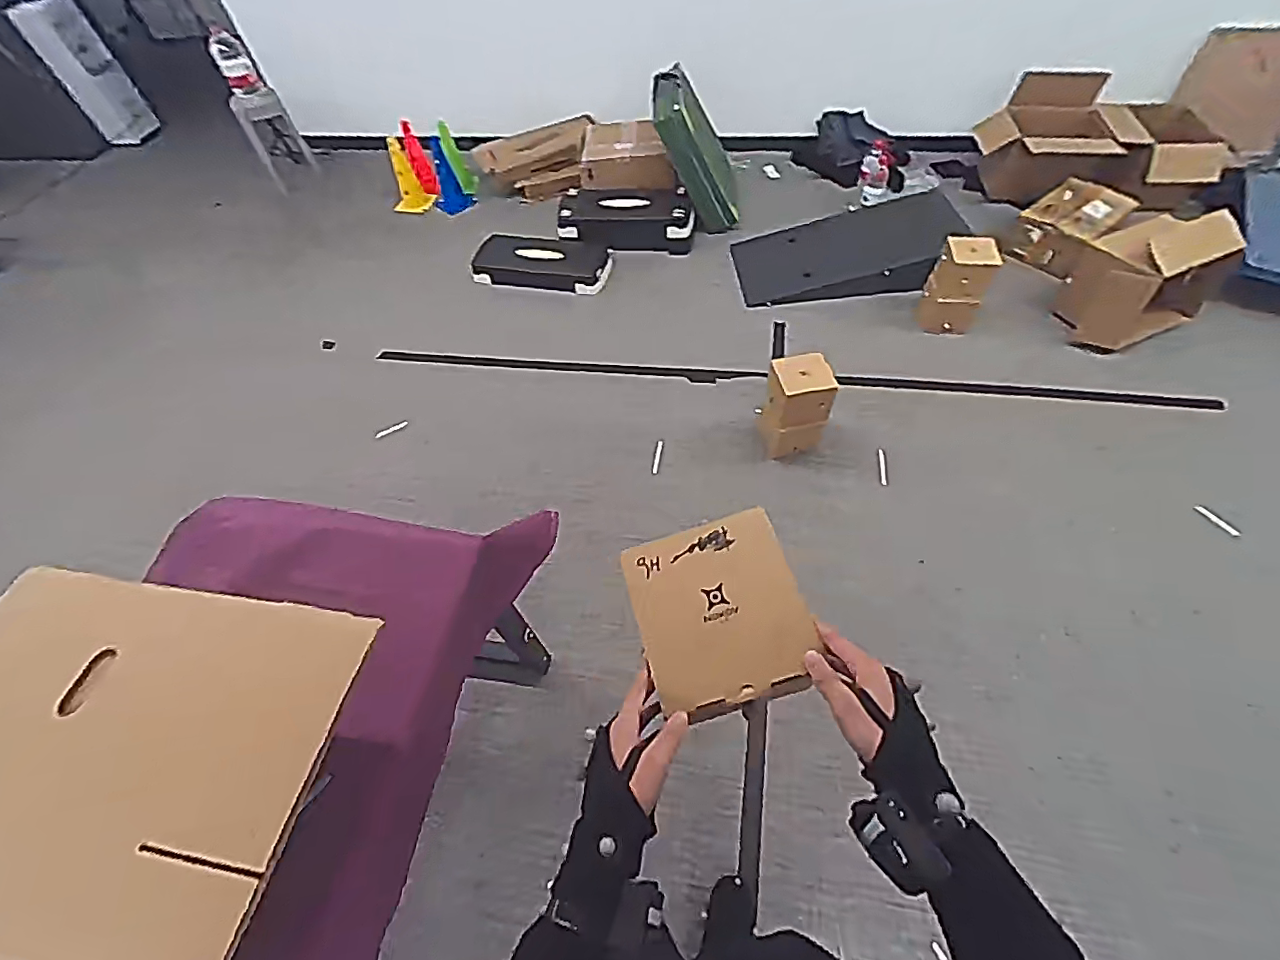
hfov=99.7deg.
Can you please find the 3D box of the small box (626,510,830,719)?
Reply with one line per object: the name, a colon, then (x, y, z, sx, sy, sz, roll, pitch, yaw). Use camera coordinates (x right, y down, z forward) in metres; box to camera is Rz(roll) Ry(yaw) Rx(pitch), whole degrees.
small box: (0.095, 0.162, 0.617, 0.168, 0.176, 0.179, -17, 63, 1)
